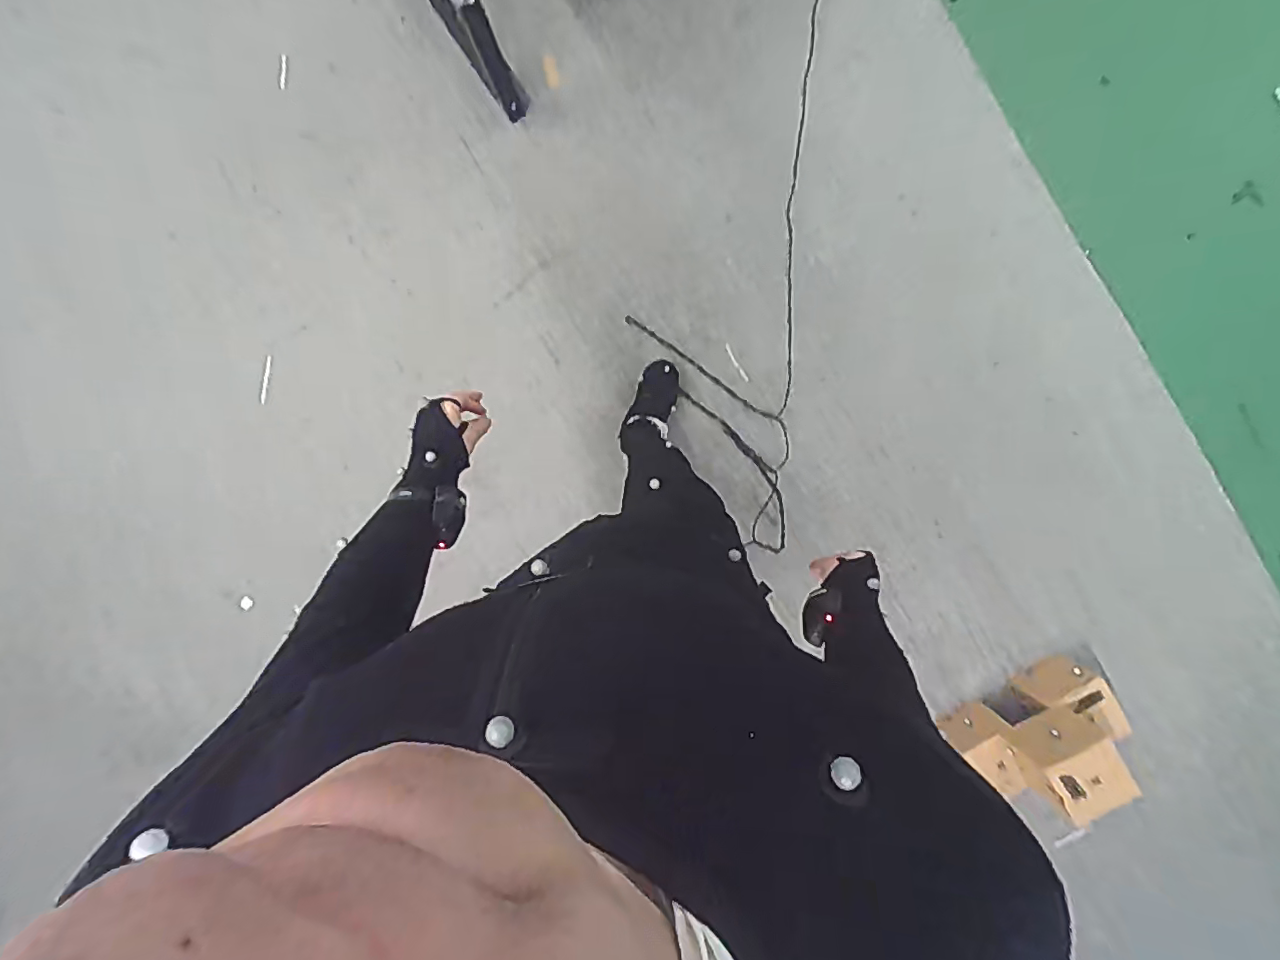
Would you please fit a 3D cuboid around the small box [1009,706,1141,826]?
[{"bbox_3d":[1.083,0.714,1.367,0.179,0.176,0.168,-31,92,2],"label":"small box"}]
